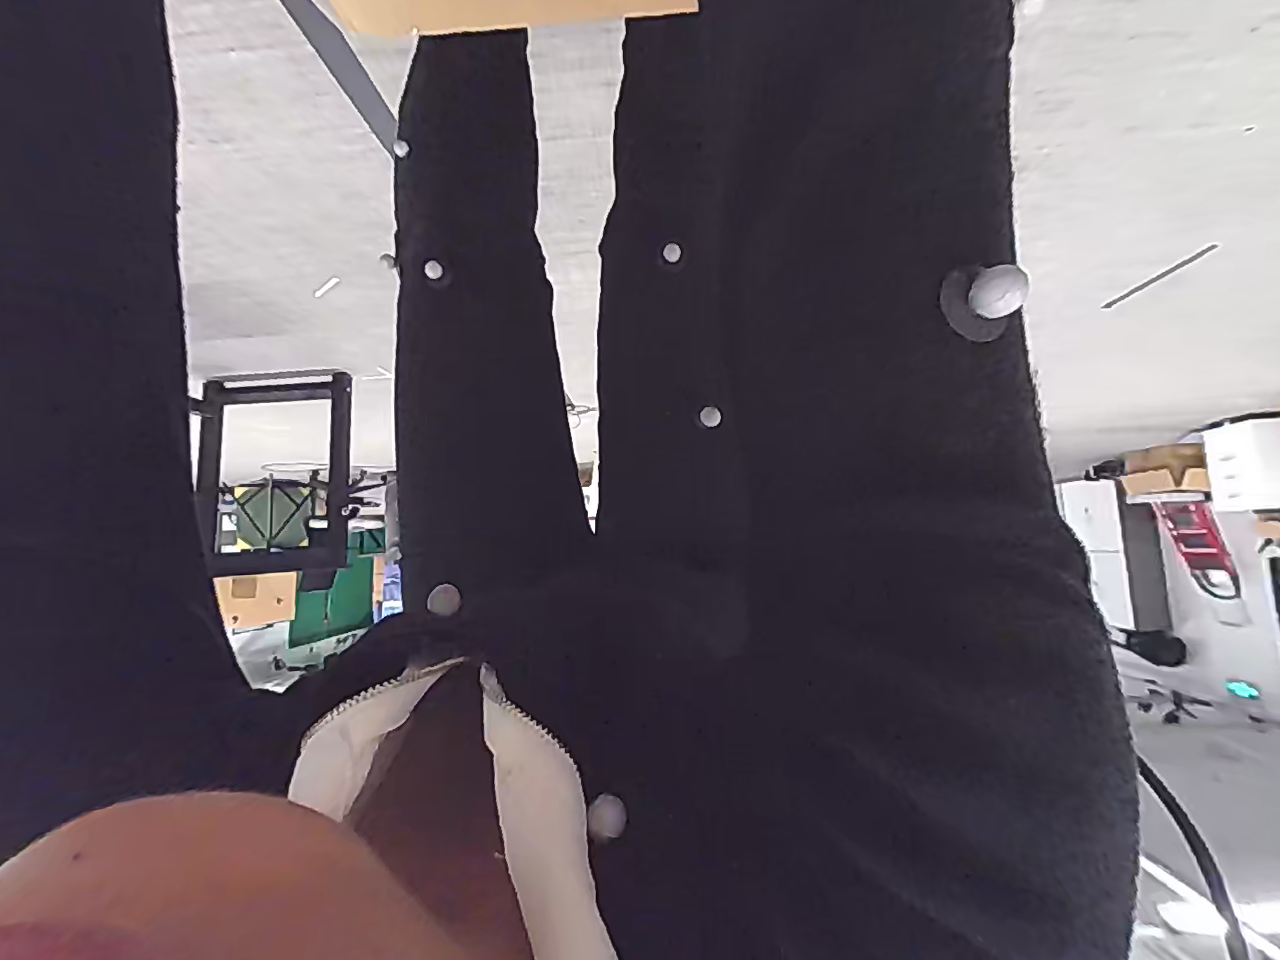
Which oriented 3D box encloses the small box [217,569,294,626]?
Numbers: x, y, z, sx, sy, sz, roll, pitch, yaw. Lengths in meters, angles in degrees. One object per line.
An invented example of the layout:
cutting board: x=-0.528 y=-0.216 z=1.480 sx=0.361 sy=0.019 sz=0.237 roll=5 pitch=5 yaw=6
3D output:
small box: x=-1.274 y=0.384 z=1.783 sx=0.168 sy=0.176 sz=0.179 roll=-3 pitch=174 yaw=5
